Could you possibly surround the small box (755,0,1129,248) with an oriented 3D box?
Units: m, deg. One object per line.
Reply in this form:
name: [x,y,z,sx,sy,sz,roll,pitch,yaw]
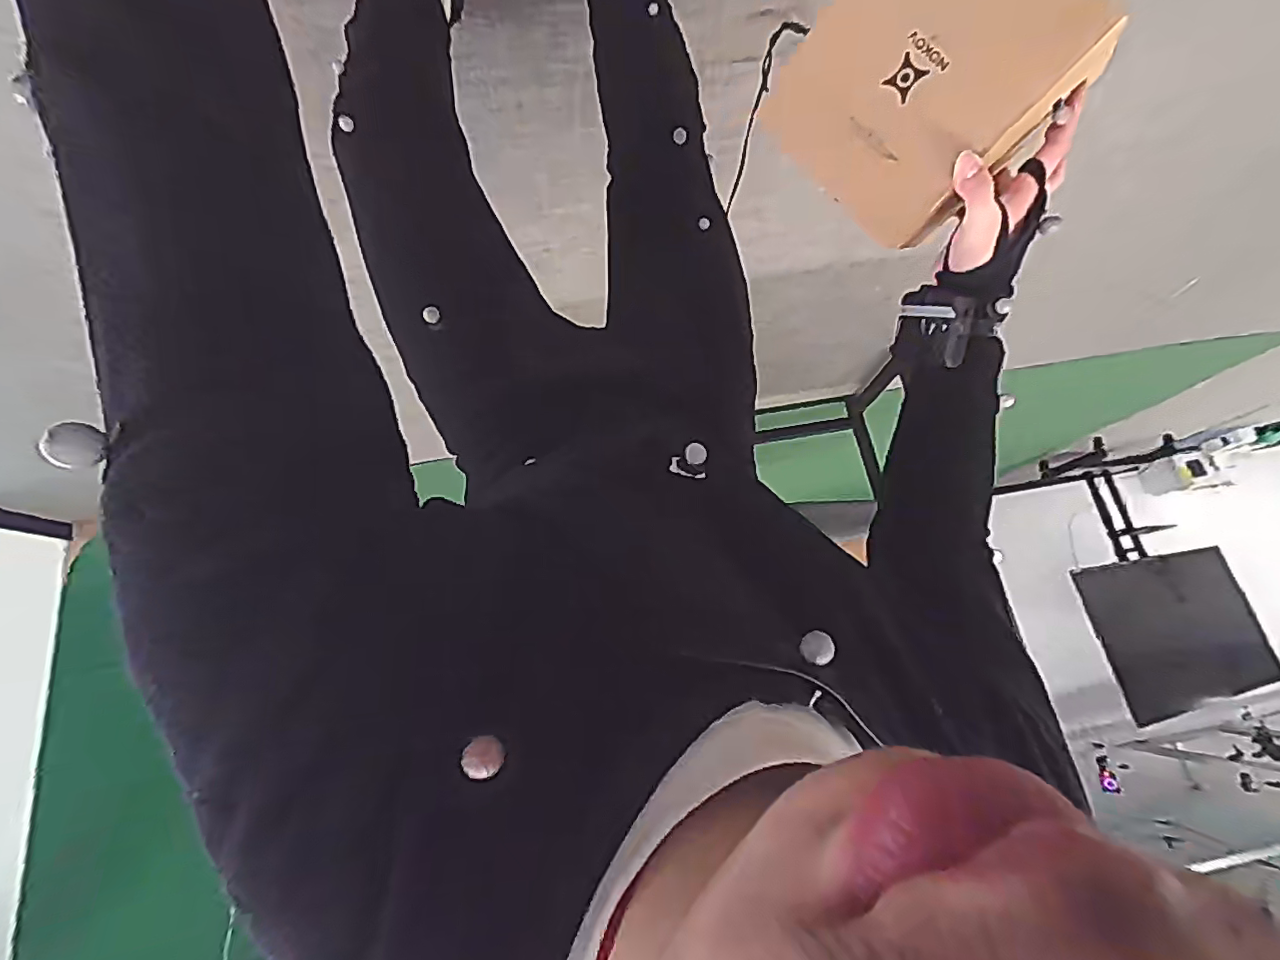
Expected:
small box: [0.233,-0.315,0.439,0.176,0.168,0.179,-28,167,-49]
